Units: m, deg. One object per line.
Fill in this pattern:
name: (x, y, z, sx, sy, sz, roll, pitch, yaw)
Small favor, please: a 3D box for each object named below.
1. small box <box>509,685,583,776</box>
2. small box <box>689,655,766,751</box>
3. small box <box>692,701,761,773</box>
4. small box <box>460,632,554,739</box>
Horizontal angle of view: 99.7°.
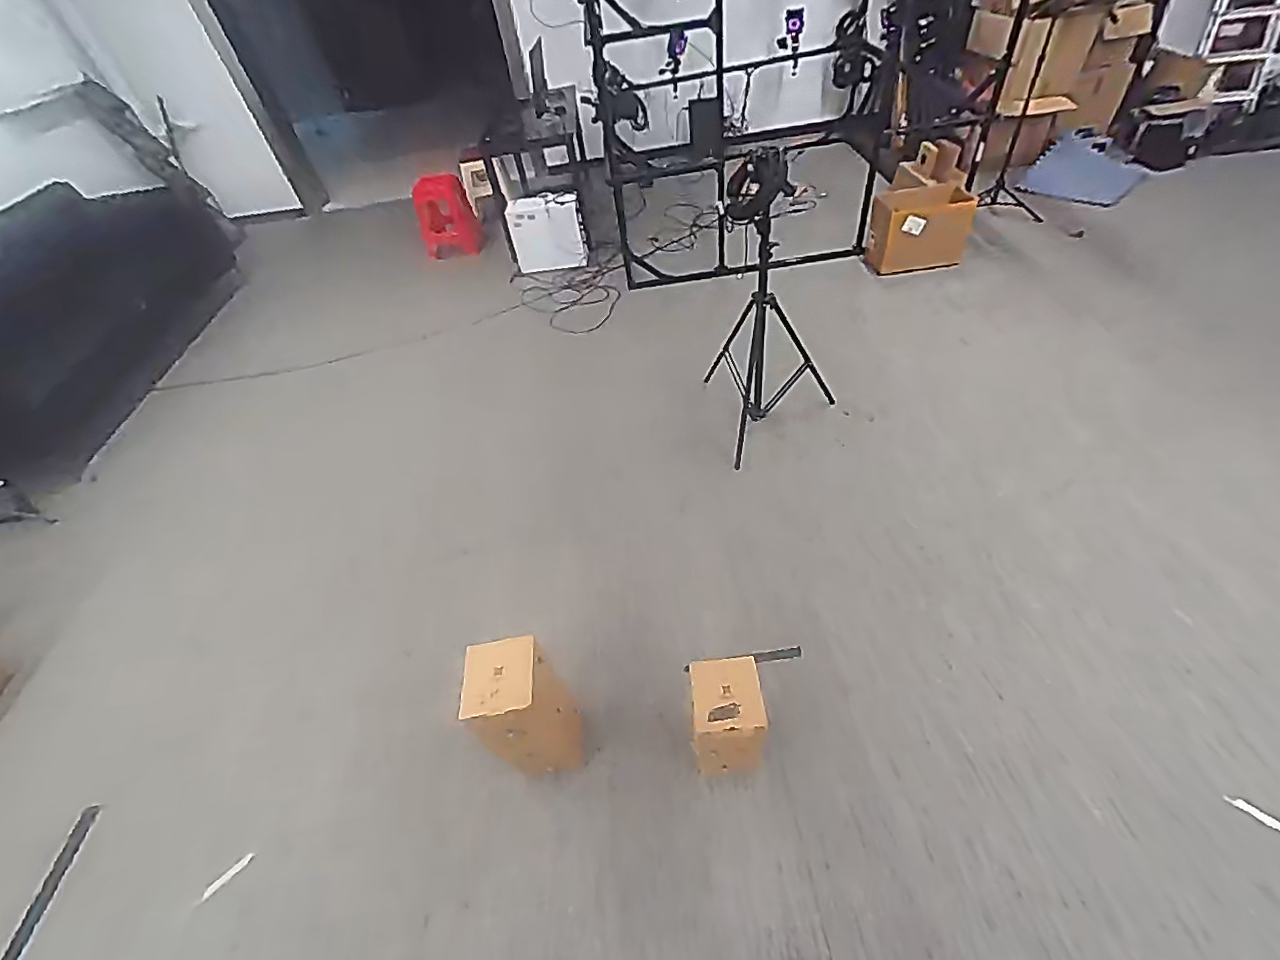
small box: (-0.260, 0.708, 1.527, 0.168, 0.176, 0.179, -10, 46, 2)
small box: (0.216, 0.564, 1.354, 0.168, 0.176, 0.179, -6, 46, 3)
small box: (0.230, 0.677, 1.473, 0.168, 0.176, 0.179, -6, 47, 4)
small box: (-0.308, 0.490, 1.287, 0.168, 0.176, 0.179, -10, 47, 2)
